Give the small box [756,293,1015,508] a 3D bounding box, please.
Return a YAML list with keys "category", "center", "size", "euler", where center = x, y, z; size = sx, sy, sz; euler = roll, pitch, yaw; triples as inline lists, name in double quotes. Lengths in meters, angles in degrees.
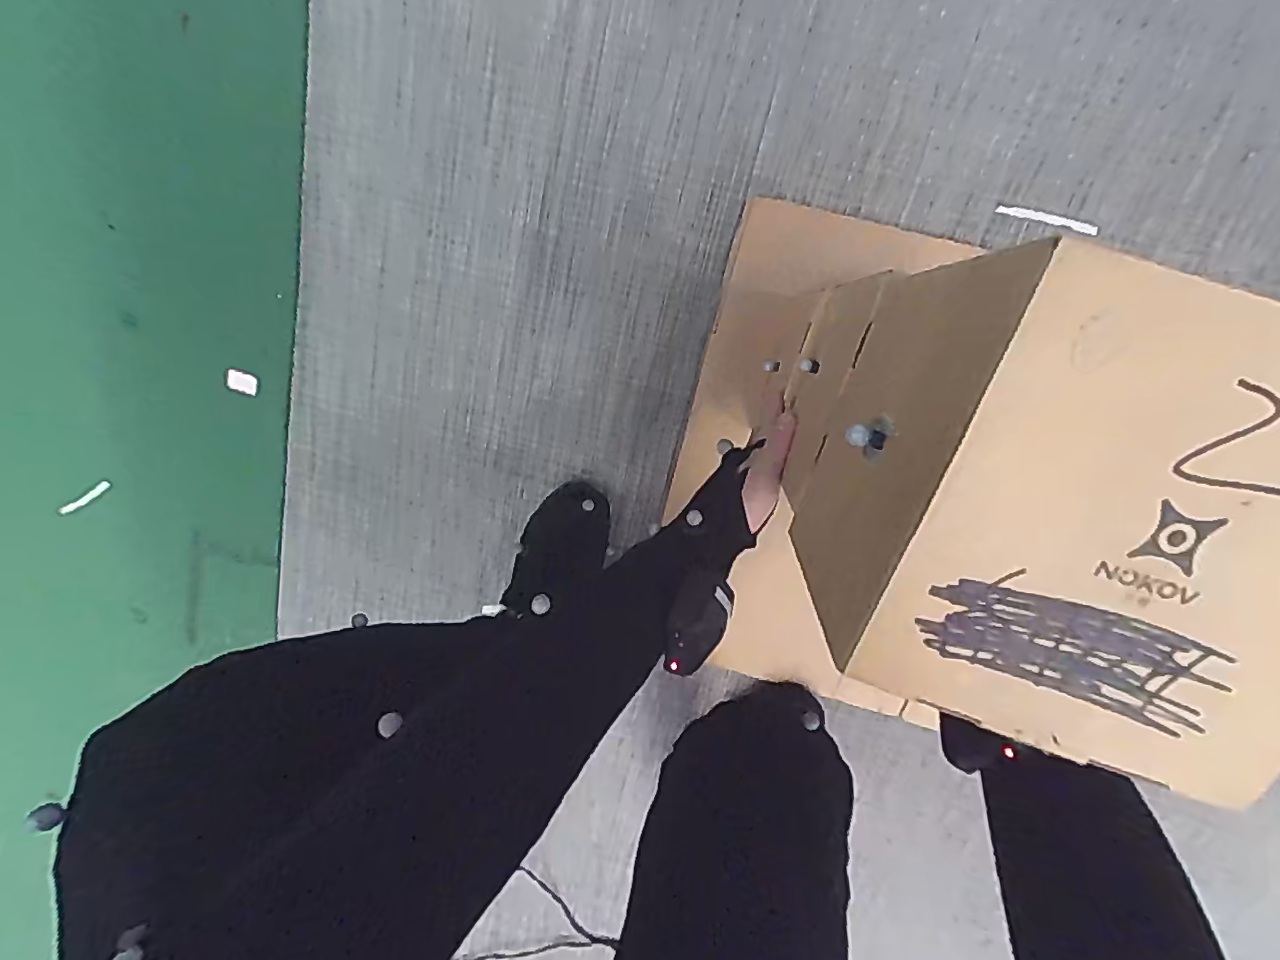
- category: "small box"
  center: [0.236, -0.091, 0.576]
  size: [0.179, 0.176, 0.168]
  euler: [16, 107, 3]
